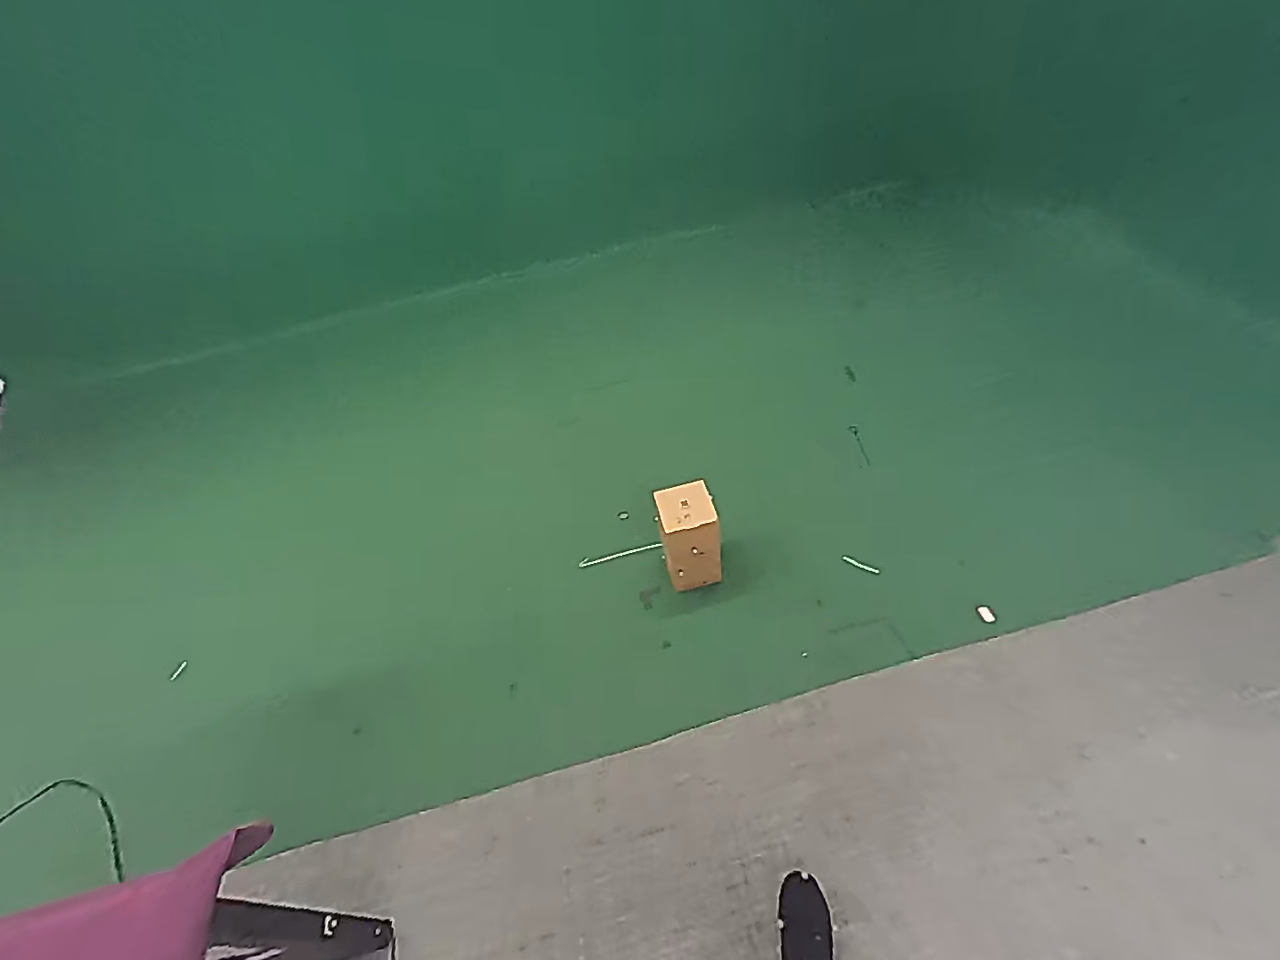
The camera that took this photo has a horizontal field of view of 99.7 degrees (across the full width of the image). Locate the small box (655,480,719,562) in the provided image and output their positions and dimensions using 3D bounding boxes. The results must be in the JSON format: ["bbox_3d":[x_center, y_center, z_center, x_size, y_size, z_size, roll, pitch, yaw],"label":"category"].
[{"bbox_3d":[0.149,0.131,1.713,0.168,0.176,0.179,-14,47,-2],"label":"small box"}]
